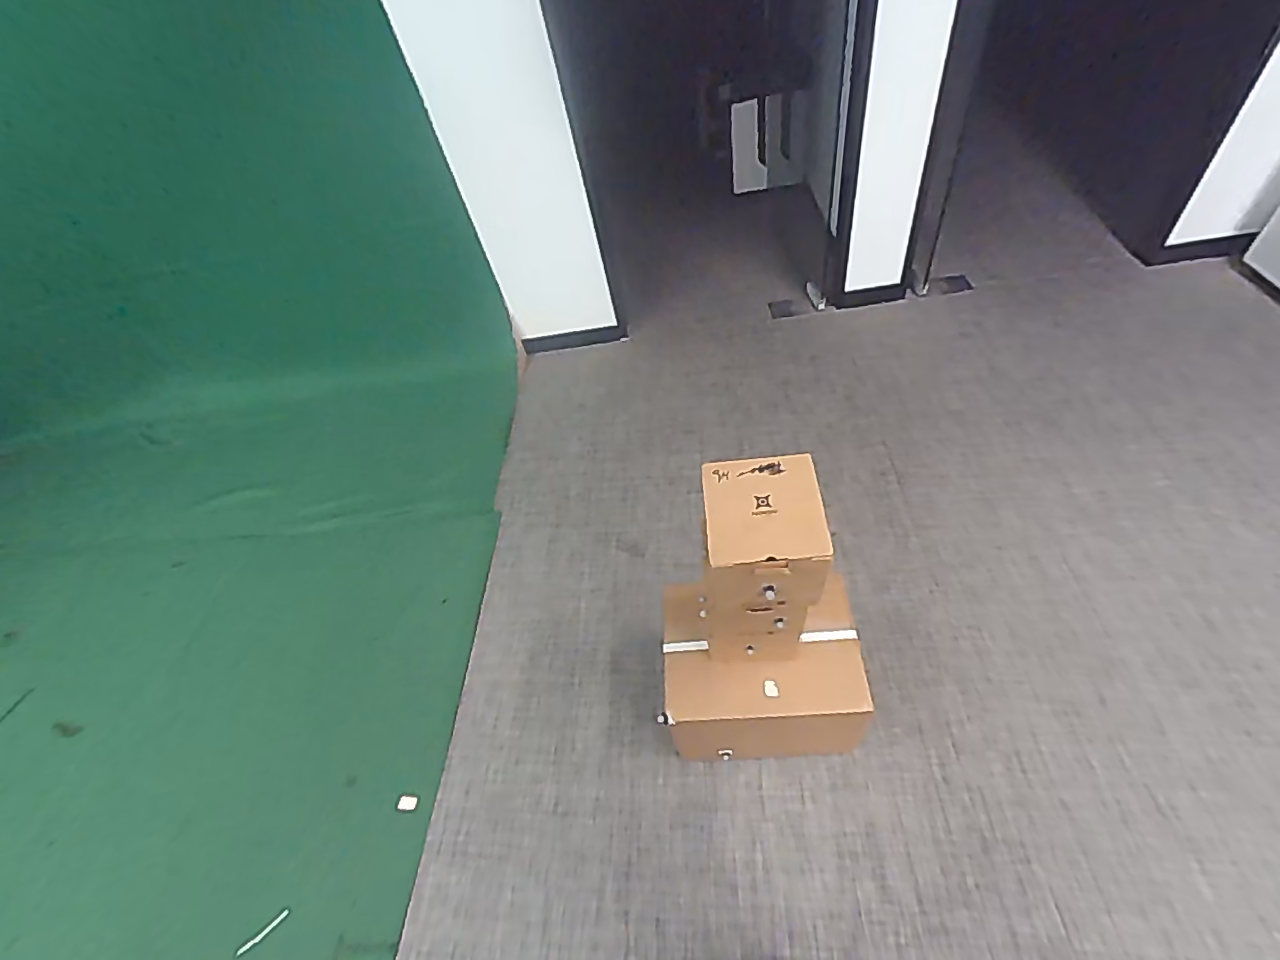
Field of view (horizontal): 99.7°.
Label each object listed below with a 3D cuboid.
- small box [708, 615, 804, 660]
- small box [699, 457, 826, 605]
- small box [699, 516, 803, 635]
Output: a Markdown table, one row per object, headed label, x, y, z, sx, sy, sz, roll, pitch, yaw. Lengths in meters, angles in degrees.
| label | x | y | z | sx | sy | sz | roll | pitch | yaw |
| --- | --- | --- | --- | --- | --- | --- | --- | --- | --- |
| small box | 0.228 | 0.264 | 1.112 | 0.179 | 0.176 | 0.168 | -7 | 55 | 7 |
| small box | 0.185 | 0.088 | 0.842 | 0.168 | 0.176 | 0.179 | -6 | 56 | 8 |
| small box | 0.199 | 0.173 | 0.981 | 0.168 | 0.176 | 0.179 | -6 | 54 | 7 |
